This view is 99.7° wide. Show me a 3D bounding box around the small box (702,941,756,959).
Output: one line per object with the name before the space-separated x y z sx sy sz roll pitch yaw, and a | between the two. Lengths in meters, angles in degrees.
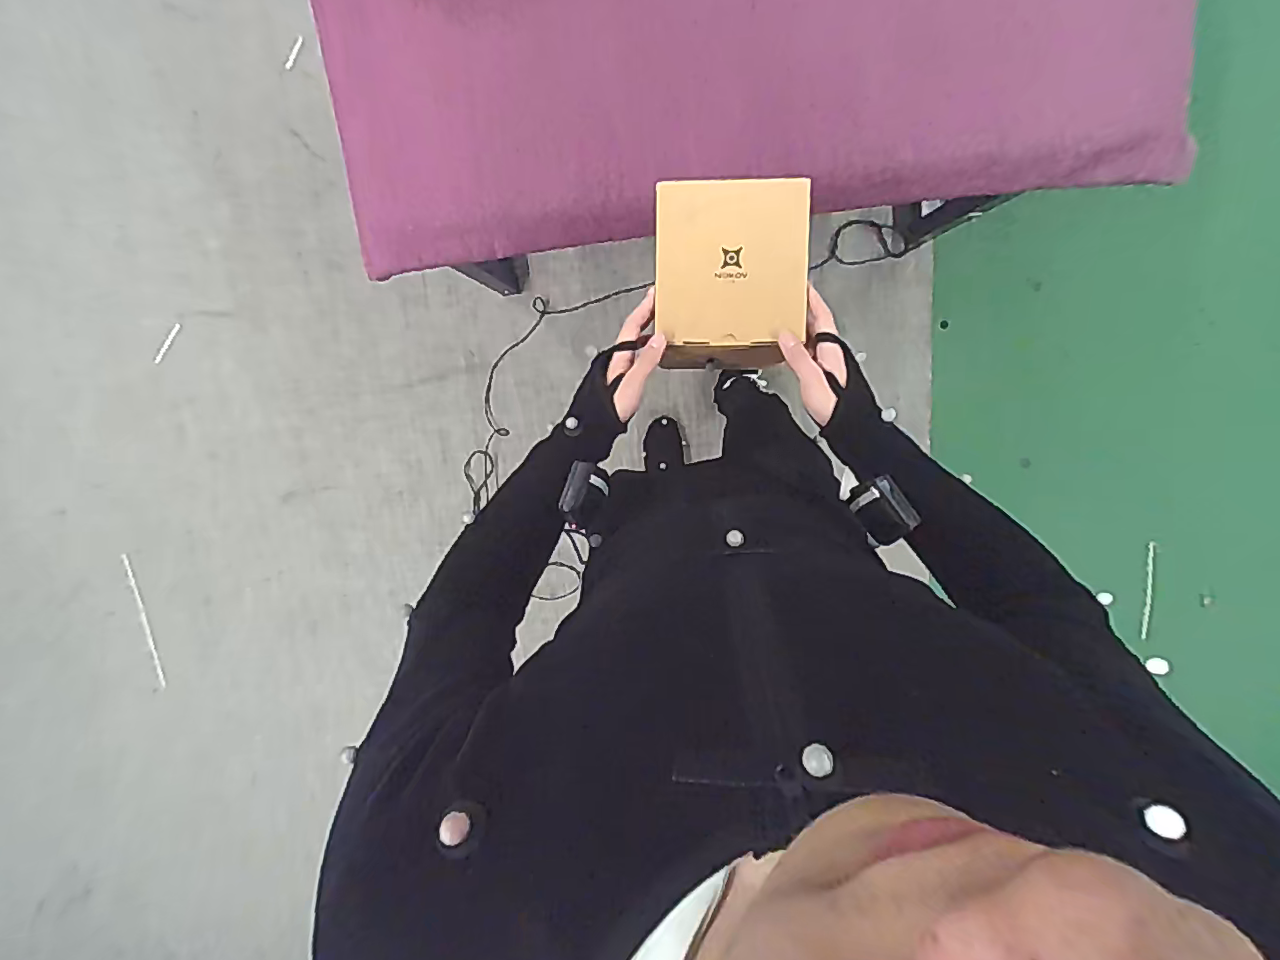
small box | 0.280 1.544 1.626 0.168 0.176 0.179 -6 102 2

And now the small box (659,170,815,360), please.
small box | 0.107 -0.246 0.656 0.168 0.176 0.179 0 95 3
